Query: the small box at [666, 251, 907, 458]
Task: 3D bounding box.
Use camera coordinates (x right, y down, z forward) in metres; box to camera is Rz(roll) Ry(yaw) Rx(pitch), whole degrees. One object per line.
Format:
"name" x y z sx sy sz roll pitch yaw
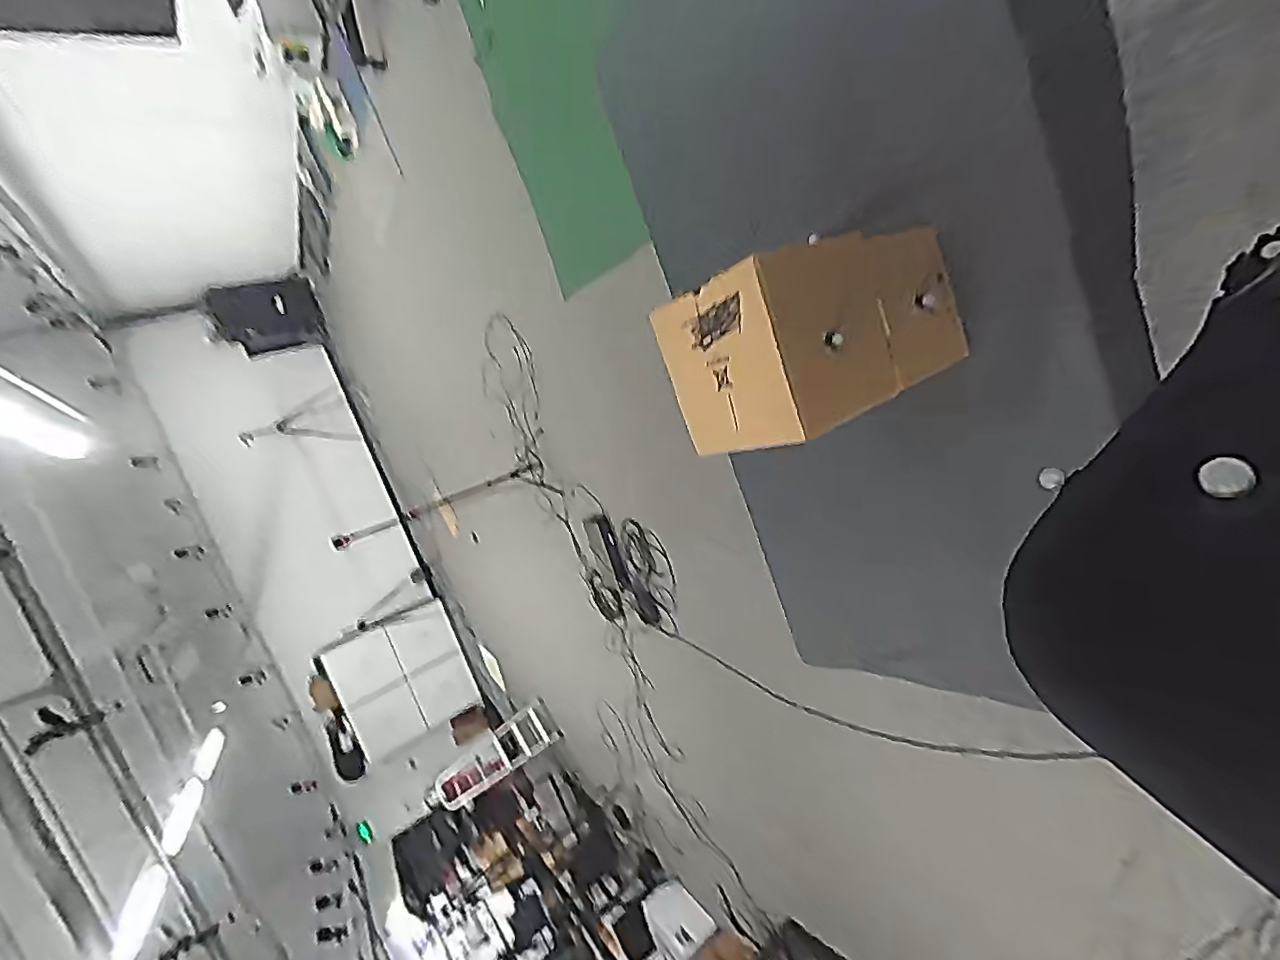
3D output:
"small box" 0.164 -0.140 0.608 0.168 0.176 0.179 -7 106 59

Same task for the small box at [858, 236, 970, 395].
"small box" 0.293 -0.192 0.698 0.179 0.176 0.168 -13 100 59
